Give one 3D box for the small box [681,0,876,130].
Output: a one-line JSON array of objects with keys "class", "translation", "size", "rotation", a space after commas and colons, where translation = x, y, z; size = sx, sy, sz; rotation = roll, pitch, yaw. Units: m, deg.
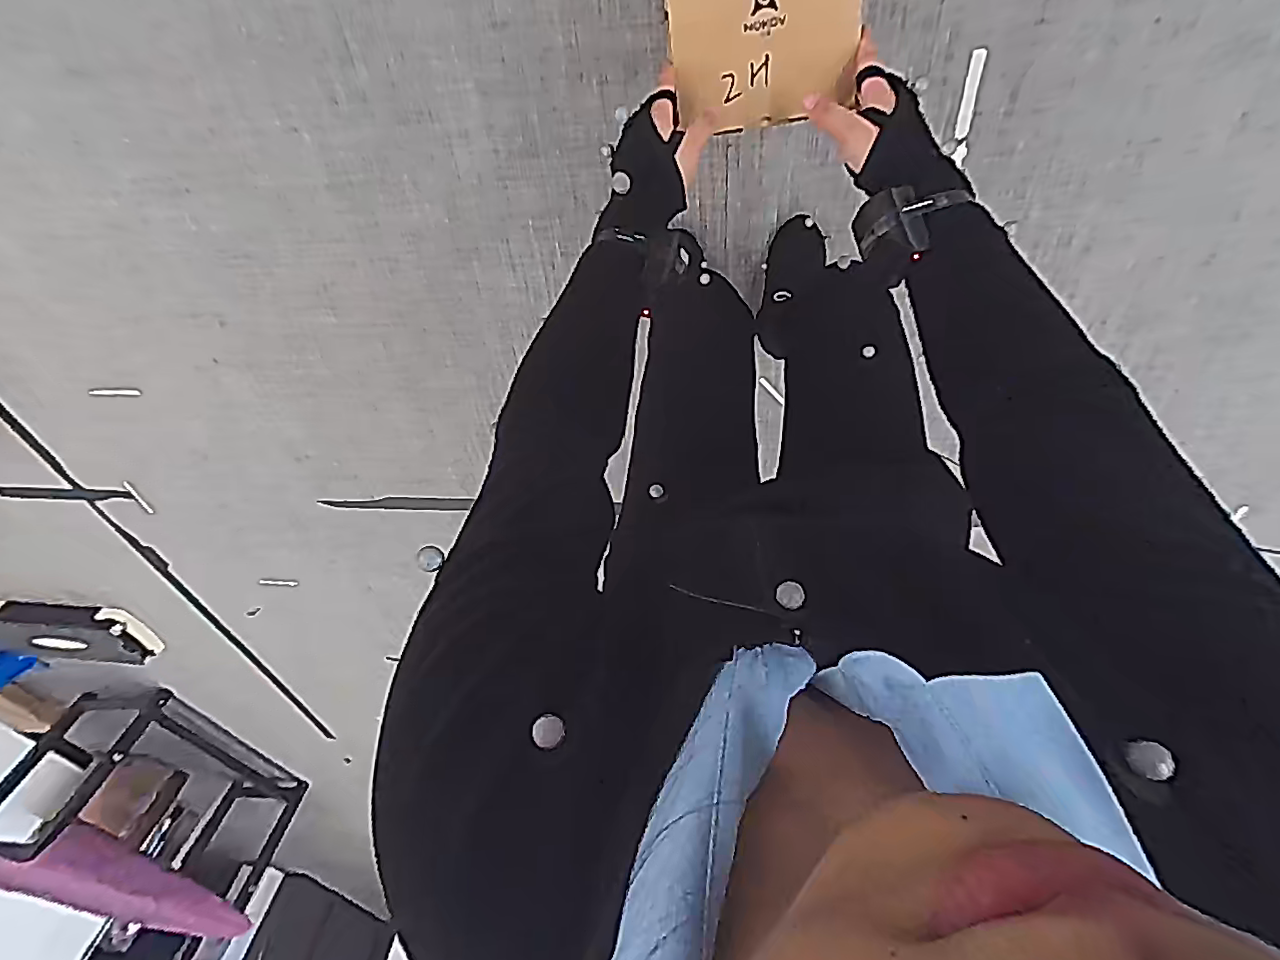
[{"class": "small box", "translation": [0.123, -0.461, 0.519], "size": [0.168, 0.176, 0.179], "rotation": [-4, 130, 11]}]
